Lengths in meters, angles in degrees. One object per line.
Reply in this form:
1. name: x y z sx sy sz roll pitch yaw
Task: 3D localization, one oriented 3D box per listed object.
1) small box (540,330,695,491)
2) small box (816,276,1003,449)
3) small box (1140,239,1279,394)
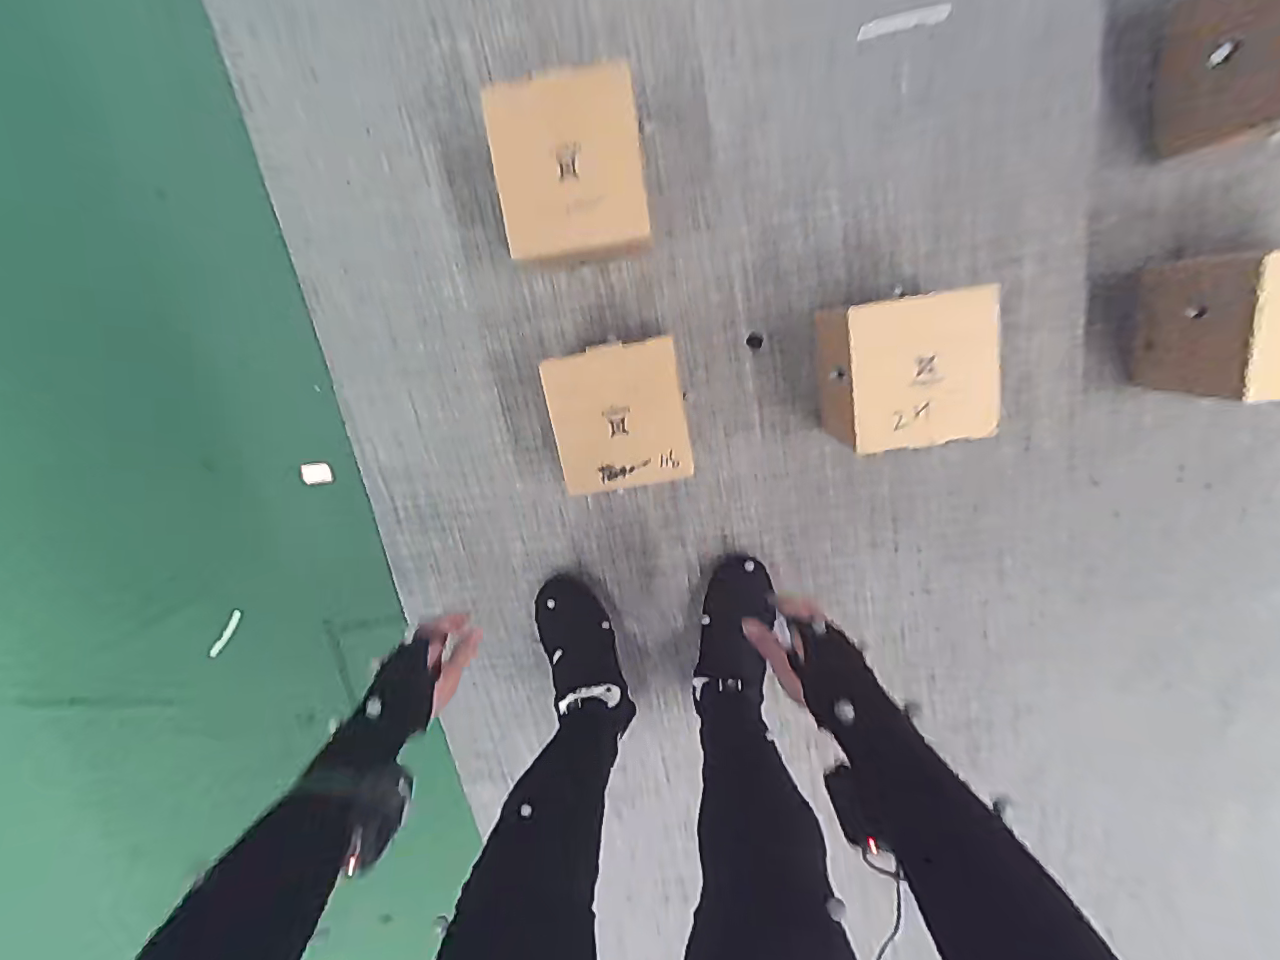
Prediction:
1. small box: -0.021 -0.098 0.732 0.168 0.176 0.179 -9 103 7
2. small box: 0.332 -0.149 0.694 0.168 0.176 0.179 -8 104 7
3. small box: 0.761 -0.202 0.652 0.179 0.176 0.168 -8 105 5
